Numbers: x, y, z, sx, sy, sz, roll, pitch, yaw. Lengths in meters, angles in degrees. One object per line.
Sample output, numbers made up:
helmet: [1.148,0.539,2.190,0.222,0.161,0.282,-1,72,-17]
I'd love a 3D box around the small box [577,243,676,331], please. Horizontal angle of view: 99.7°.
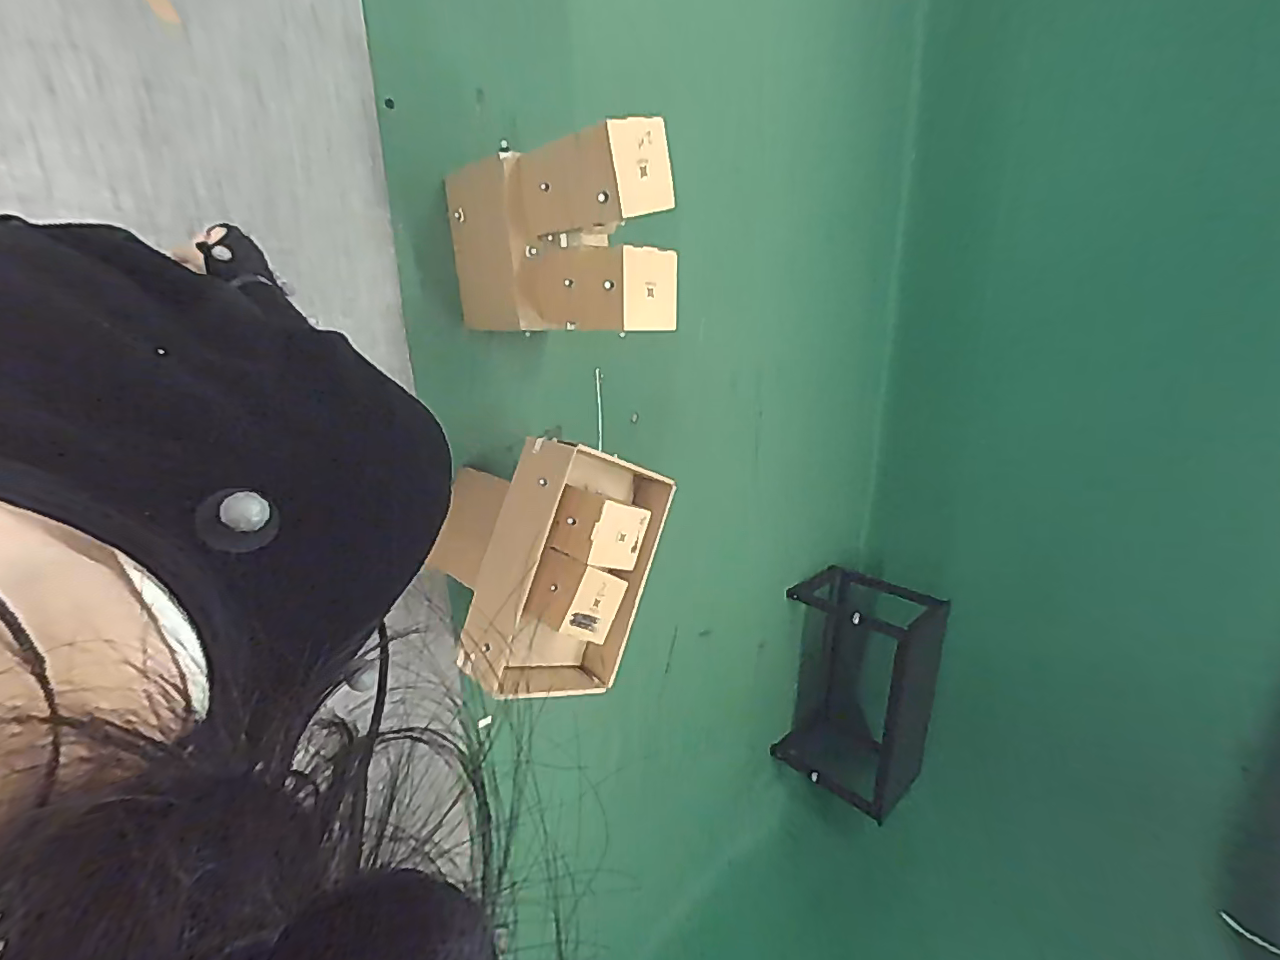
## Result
small box: [-0.033,-0.437,1.251,0.168,0.176,0.179,-14,110,-41]
